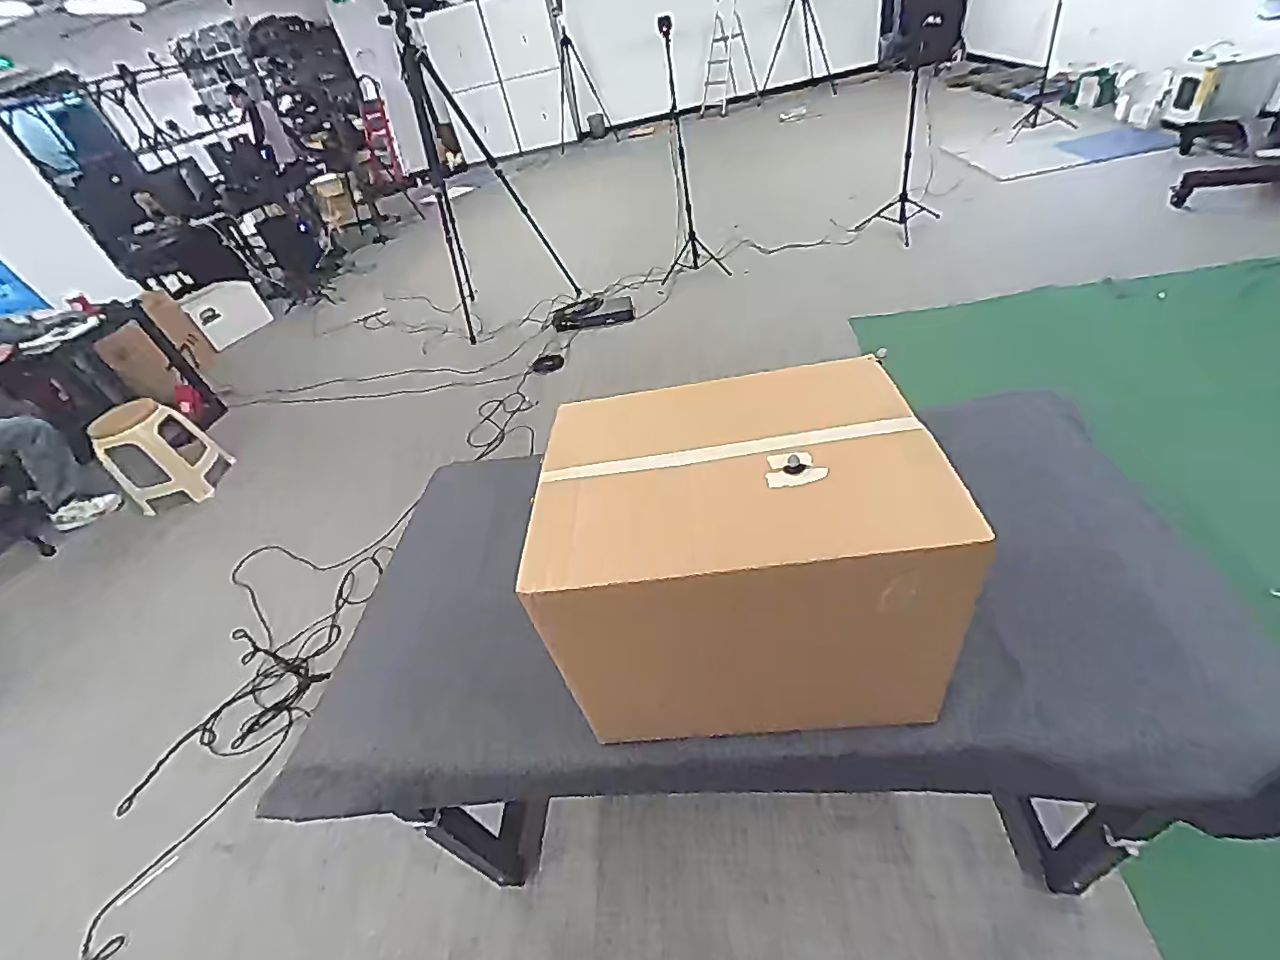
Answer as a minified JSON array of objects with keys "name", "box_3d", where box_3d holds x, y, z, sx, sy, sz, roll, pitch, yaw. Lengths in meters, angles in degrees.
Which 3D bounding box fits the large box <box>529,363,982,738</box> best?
[{"name":"large box","box_3d":[0.118,0.089,0.675,0.408,0.320,0.320,-8,40,7]}]
